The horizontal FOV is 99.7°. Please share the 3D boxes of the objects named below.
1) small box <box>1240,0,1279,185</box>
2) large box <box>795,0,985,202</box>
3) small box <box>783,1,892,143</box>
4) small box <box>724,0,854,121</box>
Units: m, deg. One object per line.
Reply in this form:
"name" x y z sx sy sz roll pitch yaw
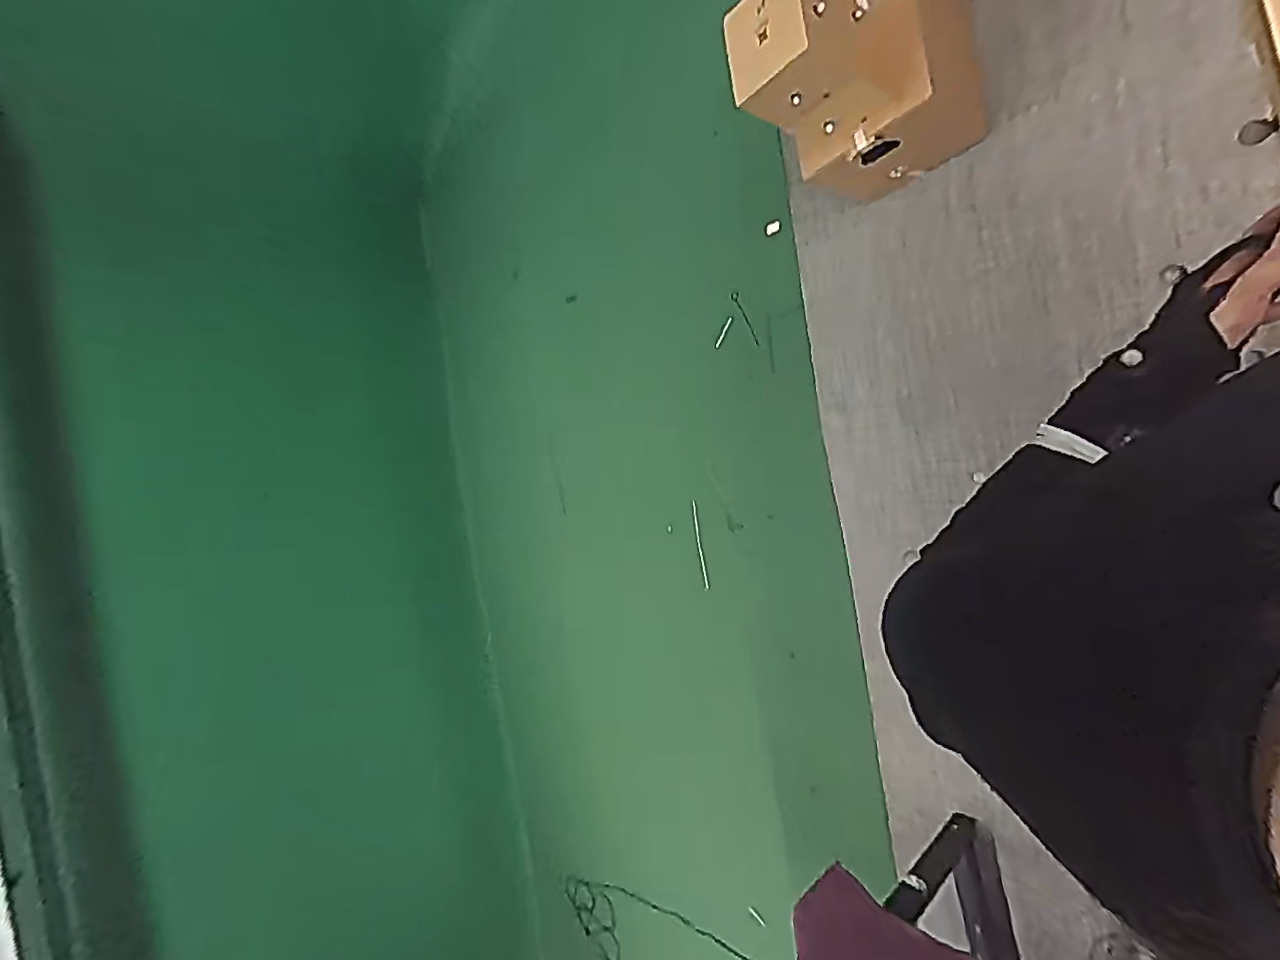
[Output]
"small box" 0.439 -0.245 0.271 0.168 0.176 0.179 -14 98 50
"large box" 0.575 -0.965 1.304 0.320 0.320 0.408 -11 88 51
"small box" 0.409 -0.848 1.143 0.168 0.176 0.179 -8 91 52
"small box" 0.287 -0.826 1.034 0.168 0.176 0.179 -8 91 51
